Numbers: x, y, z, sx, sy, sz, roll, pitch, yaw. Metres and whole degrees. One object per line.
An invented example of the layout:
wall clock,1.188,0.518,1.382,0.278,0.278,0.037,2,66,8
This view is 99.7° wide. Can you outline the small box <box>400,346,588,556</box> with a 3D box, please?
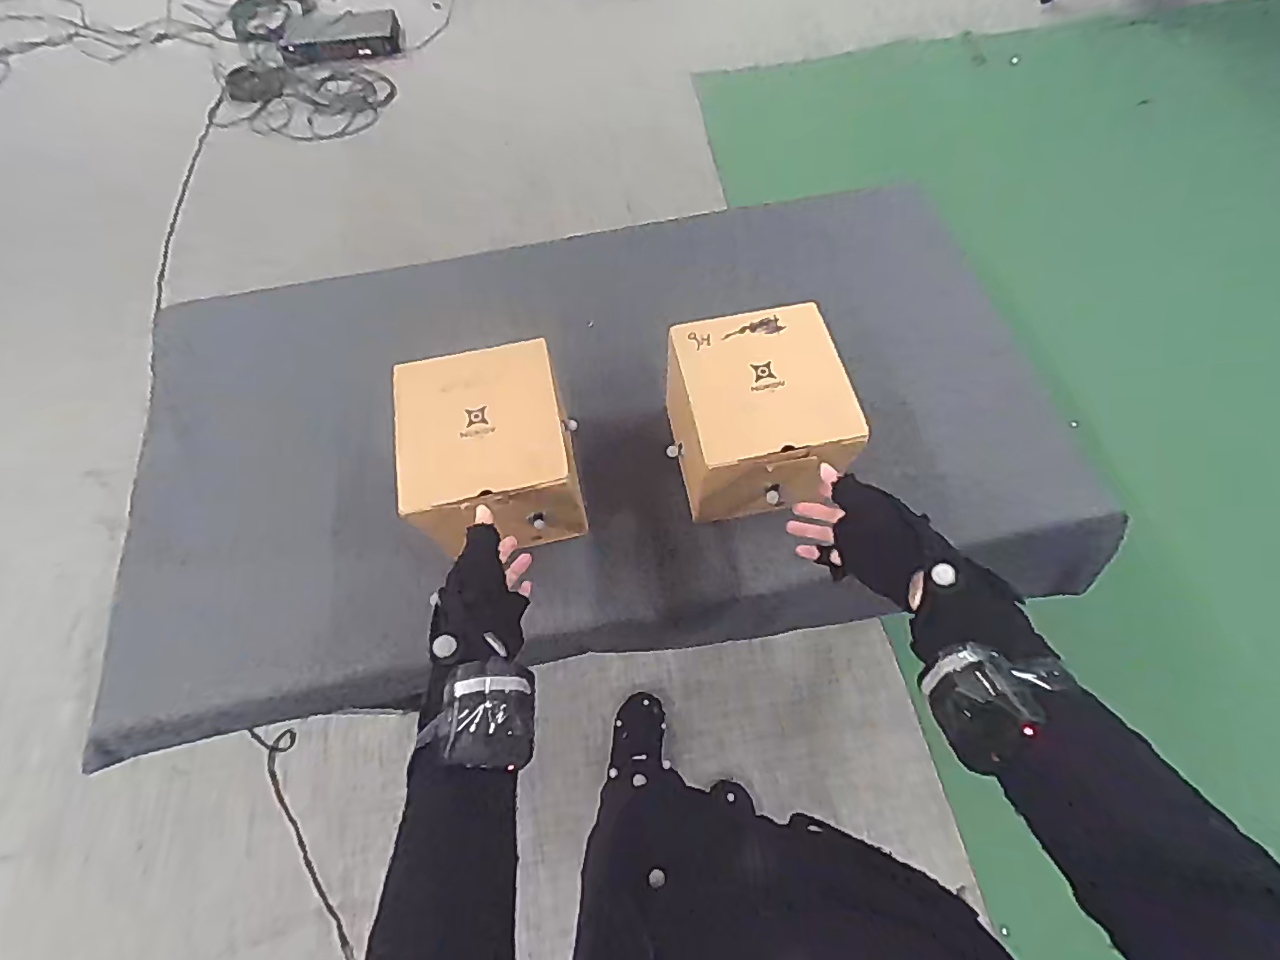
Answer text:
small box,-0.160,-0.023,0.627,0.168,0.176,0.179,-12,65,-5
